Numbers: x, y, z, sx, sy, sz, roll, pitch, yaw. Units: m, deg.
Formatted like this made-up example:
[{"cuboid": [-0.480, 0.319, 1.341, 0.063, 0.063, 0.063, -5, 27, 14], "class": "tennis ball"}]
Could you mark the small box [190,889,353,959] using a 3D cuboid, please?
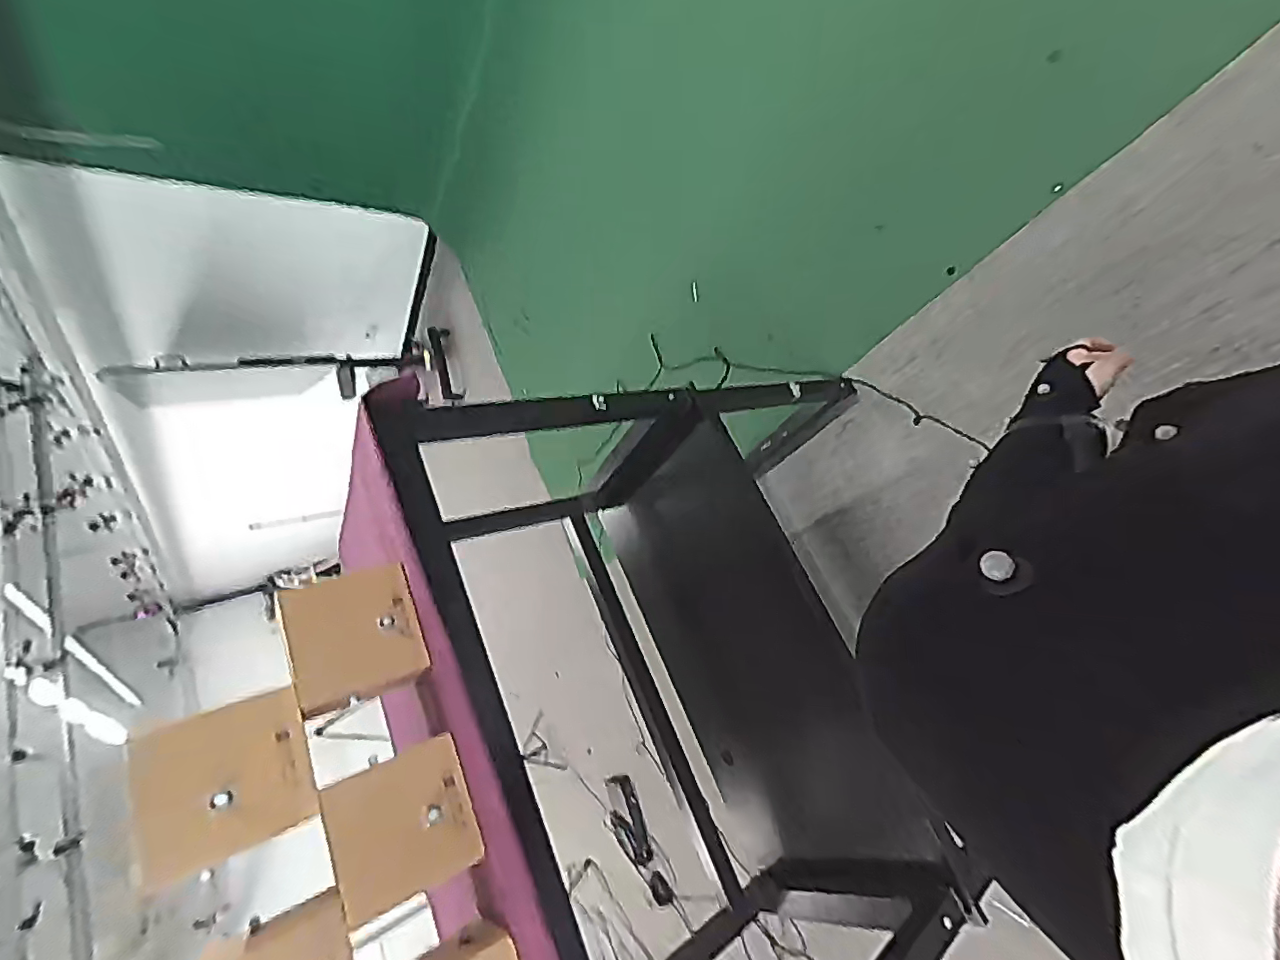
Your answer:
[{"cuboid": [-0.422, 0.607, 0.615, 0.179, 0.176, 0.168, -43, 66, 48], "class": "small box"}]

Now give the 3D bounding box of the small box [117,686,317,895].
[{"cuboid": [-0.523, 0.383, 0.690, 0.179, 0.176, 0.168, -45, 64, 49], "class": "small box"}]

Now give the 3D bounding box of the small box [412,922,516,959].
[{"cuboid": [-0.237, 0.691, 0.668, 0.179, 0.176, 0.168, -48, 62, 48], "class": "small box"}]

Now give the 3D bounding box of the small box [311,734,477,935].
[{"cuboid": [-0.342, 0.475, 0.748, 0.179, 0.176, 0.168, -45, 64, 47], "class": "small box"}]
